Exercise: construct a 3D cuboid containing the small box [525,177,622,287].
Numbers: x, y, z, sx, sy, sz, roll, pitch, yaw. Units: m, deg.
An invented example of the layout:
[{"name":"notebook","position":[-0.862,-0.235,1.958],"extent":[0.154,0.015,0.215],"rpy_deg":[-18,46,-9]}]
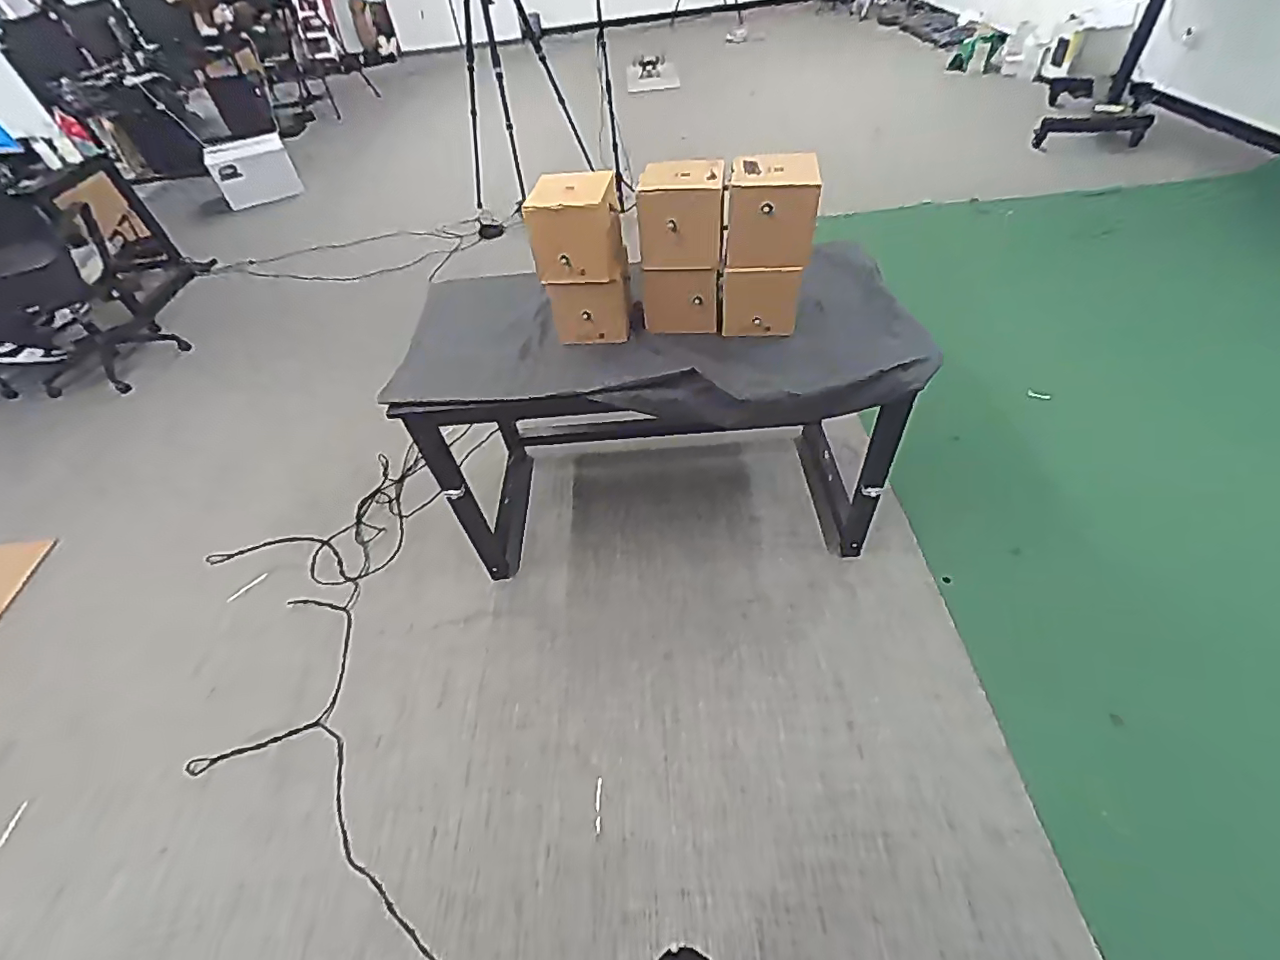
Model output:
[{"name":"small box","position":[-0.137,-0.549,1.201],"extent":[0.168,0.176,0.179],"rpy_deg":[2,50,10]}]
